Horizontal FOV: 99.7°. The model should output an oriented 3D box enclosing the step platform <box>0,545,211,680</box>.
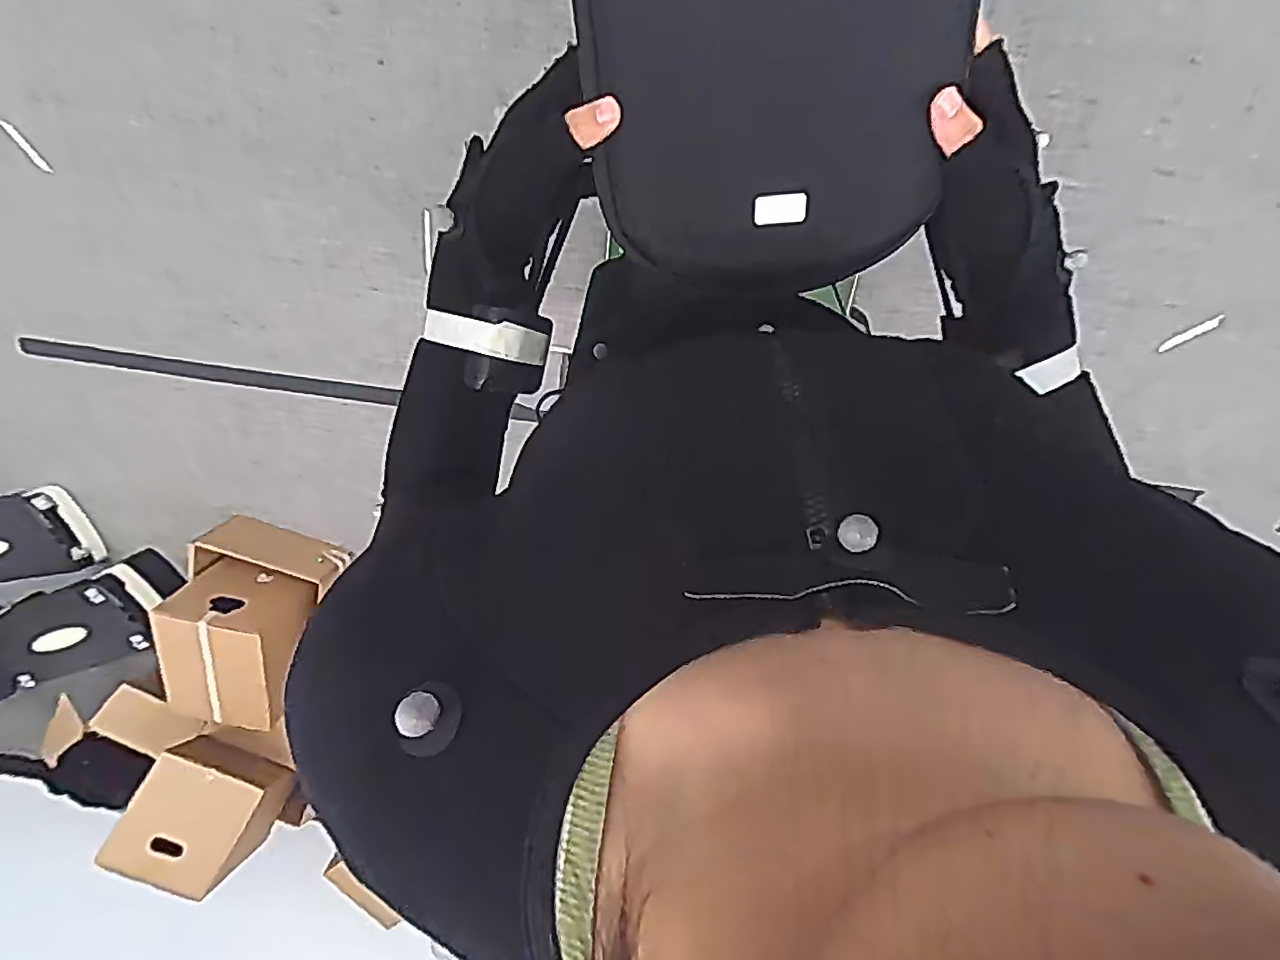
[{"bbox_3d":[-1.889,0.469,1.881,0.684,0.204,0.286,-19,112,12],"label":"step platform"}]
